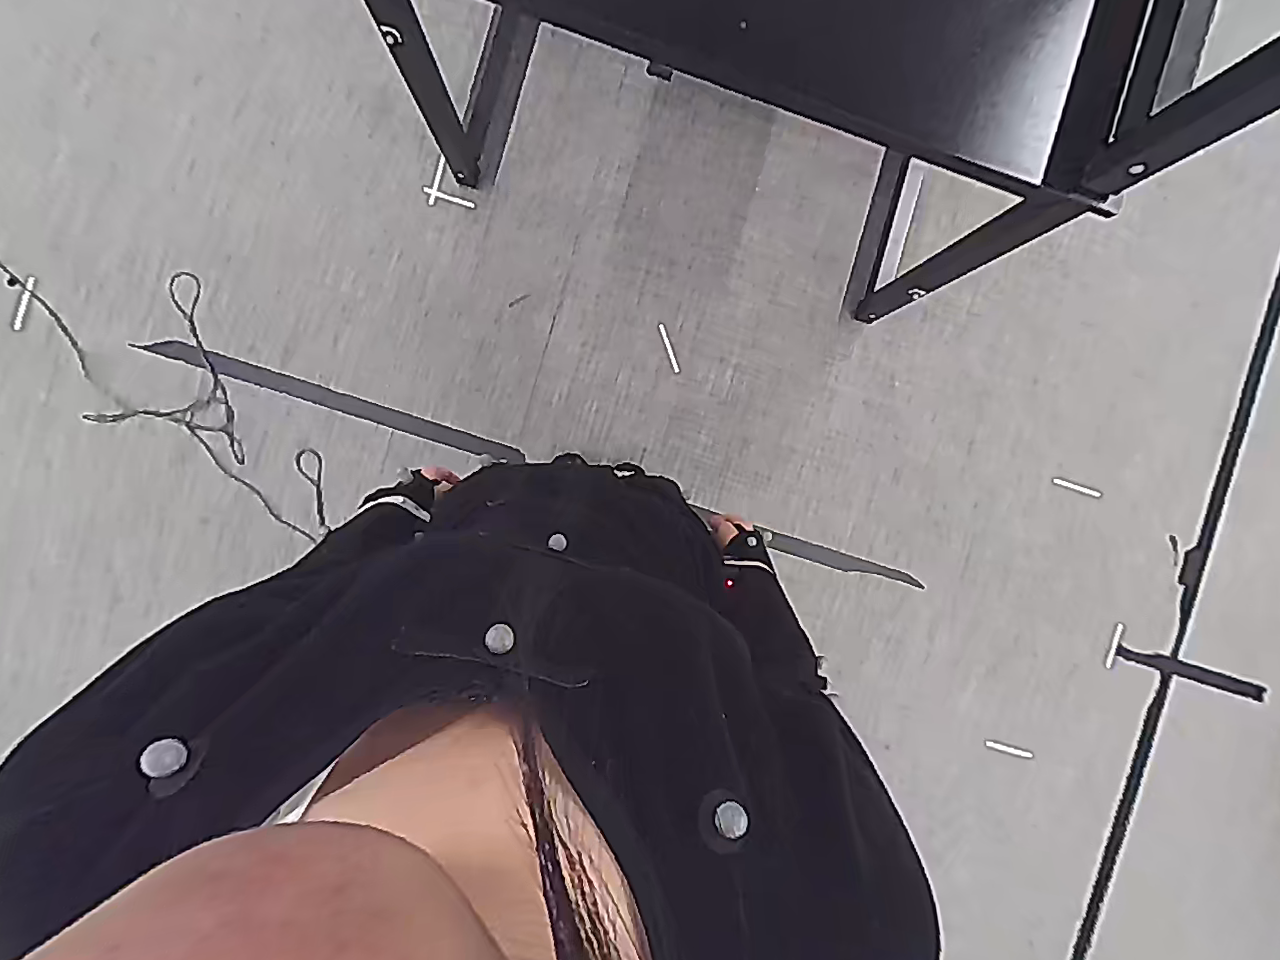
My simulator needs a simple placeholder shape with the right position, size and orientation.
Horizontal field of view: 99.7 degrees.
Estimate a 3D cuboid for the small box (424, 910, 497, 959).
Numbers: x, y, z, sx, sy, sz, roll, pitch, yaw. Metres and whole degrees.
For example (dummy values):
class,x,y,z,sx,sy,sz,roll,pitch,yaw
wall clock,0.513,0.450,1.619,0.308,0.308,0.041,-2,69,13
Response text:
class,x,y,z,sx,sy,sz,roll,pitch,yaw
small box,-0.472,1.265,1.403,0.168,0.176,0.179,8,91,-6
